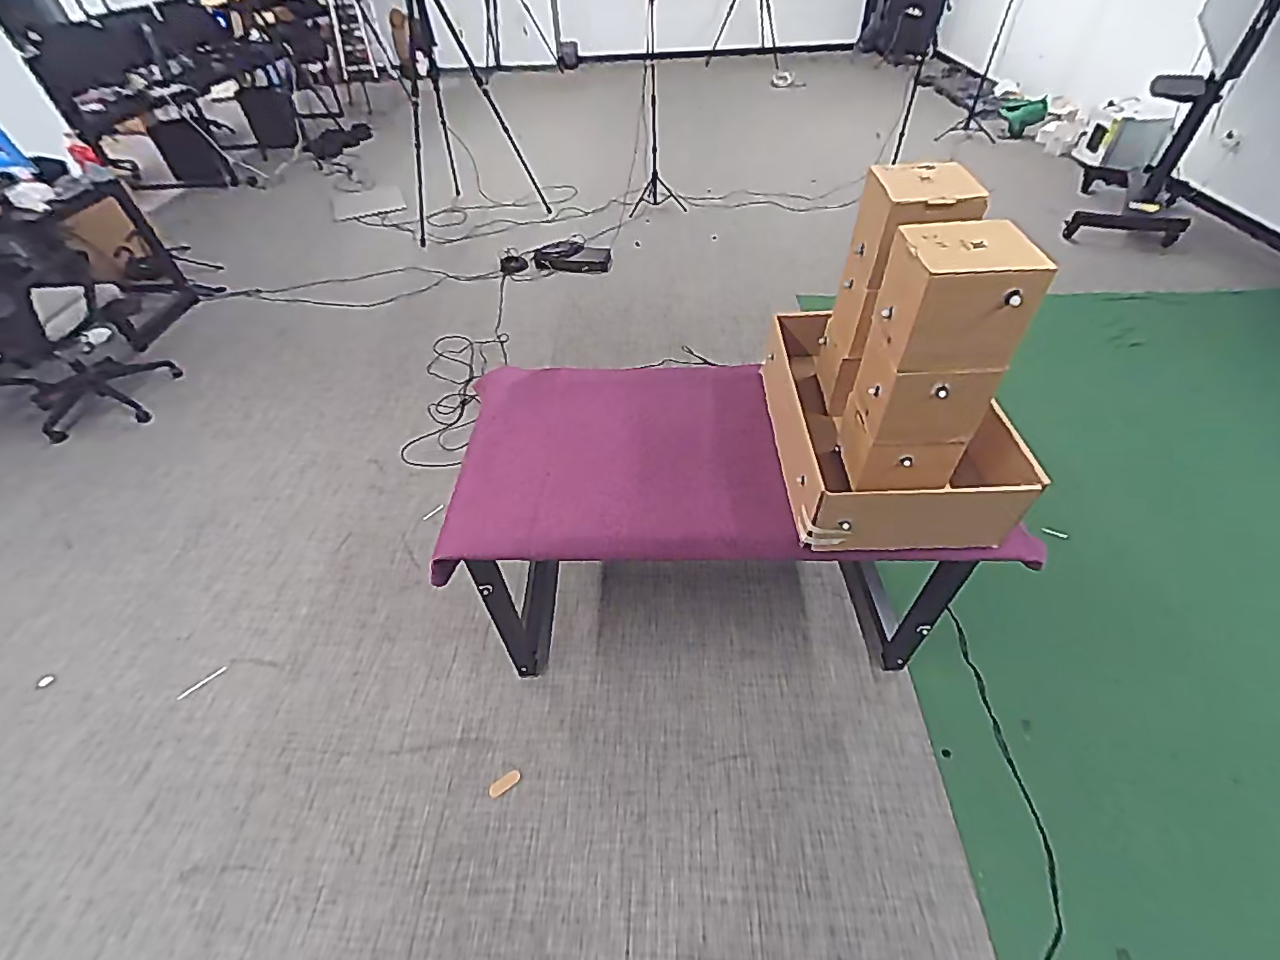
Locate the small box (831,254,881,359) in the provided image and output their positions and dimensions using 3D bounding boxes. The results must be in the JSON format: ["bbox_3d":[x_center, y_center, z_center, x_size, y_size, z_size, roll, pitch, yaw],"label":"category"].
[{"bbox_3d":[0.525,-0.372,1.170,0.168,0.176,0.179,0,48,4],"label":"small box"}]

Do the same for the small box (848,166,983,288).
[{"bbox_3d":[0.519,-0.483,1.049,0.168,0.176,0.179,0,49,3],"label":"small box"}]

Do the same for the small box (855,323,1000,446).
[{"bbox_3d":[0.506,-0.175,0.988,0.179,0.176,0.168,0,48,5],"label":"small box"}]

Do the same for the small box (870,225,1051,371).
[{"bbox_3d":[0.497,-0.290,0.870,0.179,0.176,0.168,-1,47,4],"label":"small box"}]
